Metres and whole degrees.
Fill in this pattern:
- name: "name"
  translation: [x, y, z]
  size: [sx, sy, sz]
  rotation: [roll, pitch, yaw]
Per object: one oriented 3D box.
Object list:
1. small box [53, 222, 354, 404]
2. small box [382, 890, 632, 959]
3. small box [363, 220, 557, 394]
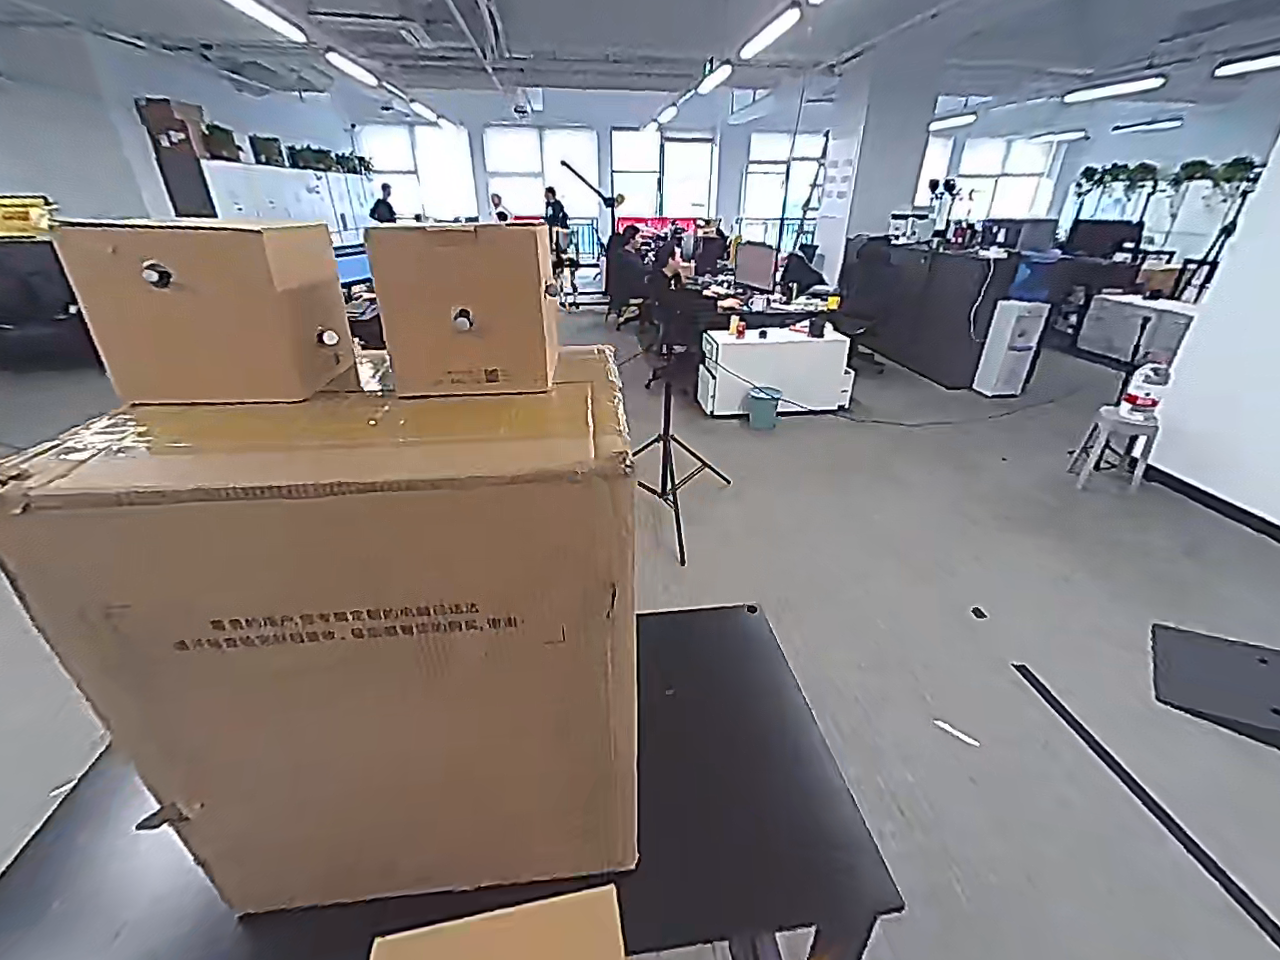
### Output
- name: "small box"
  translation: [-0.442, -0.185, 0.588]
  size: [0.179, 0.176, 0.168]
  rotation: [-2, 27, -7]
- name: "small box"
  translation: [-0.075, 0.414, 0.340]
  size: [0.168, 0.176, 0.179]
  rotation: [-8, 29, -9]
- name: "small box"
  translation: [-0.186, -0.201, 0.622]
  size: [0.168, 0.176, 0.179]
  rotation: [-3, 27, -5]
